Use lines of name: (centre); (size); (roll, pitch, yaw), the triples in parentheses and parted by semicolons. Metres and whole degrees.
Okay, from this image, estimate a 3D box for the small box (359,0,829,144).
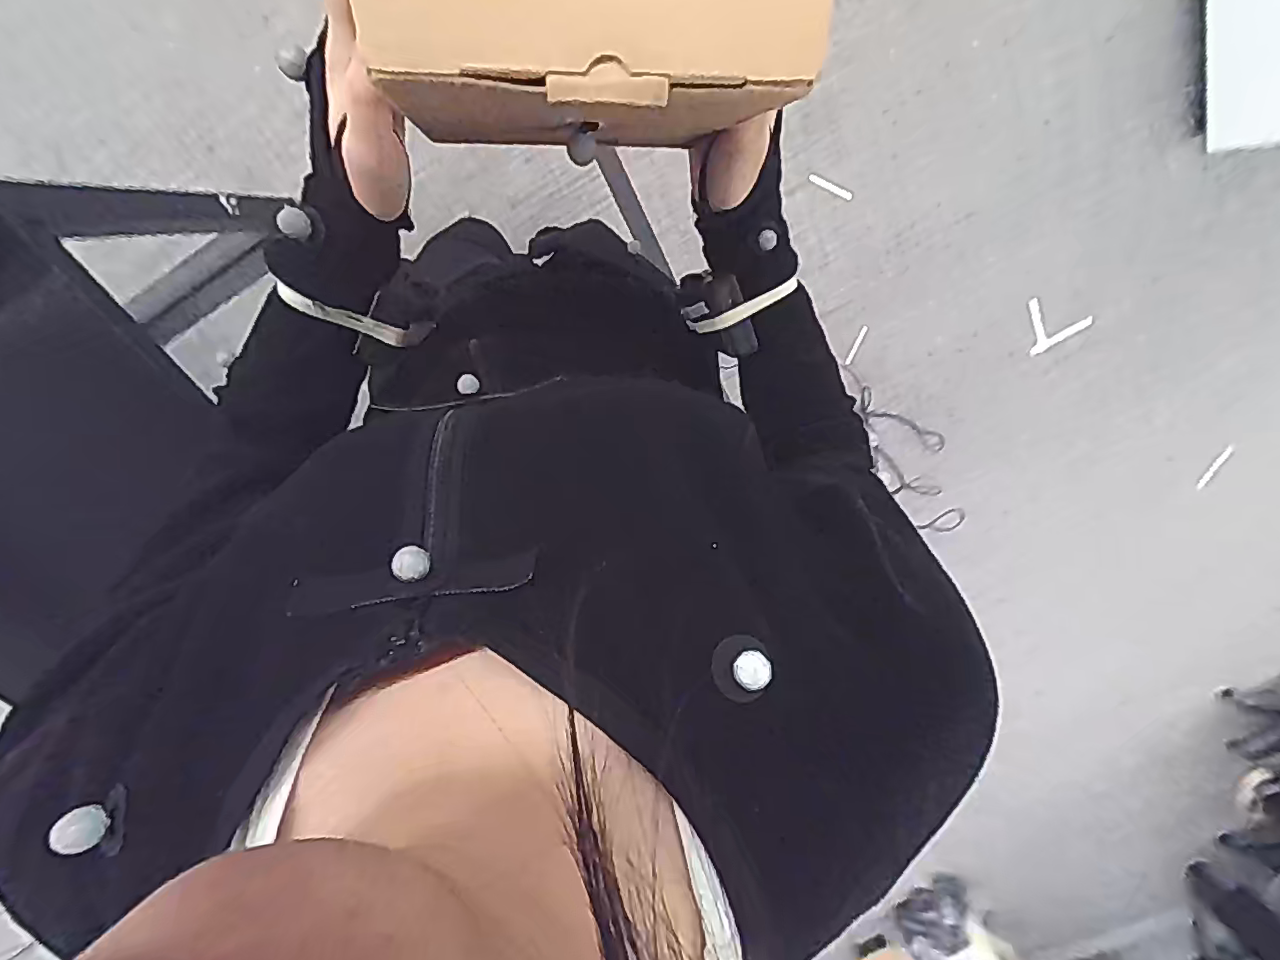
small box: (-0.024, -0.254, 0.230); (0.168, 0.176, 0.179); (-4, 117, -10)
